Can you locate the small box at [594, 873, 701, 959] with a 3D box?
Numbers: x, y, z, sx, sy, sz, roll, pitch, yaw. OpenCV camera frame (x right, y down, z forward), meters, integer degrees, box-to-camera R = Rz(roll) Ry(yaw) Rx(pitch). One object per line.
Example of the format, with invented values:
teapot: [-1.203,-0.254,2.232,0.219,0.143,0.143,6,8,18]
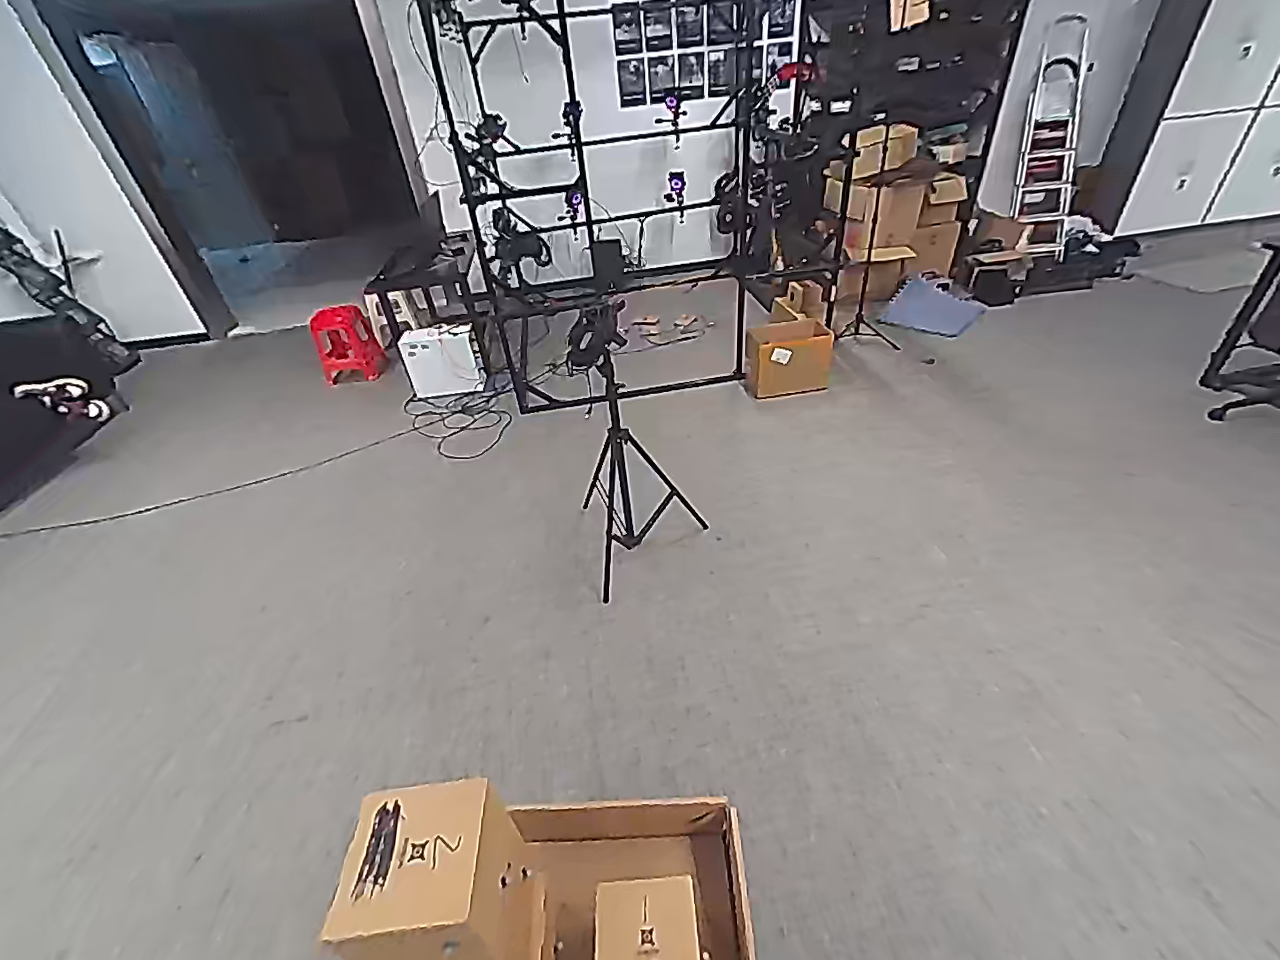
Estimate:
small box: [0.017,0.790,0.897,0.168,0.176,0.179,-6,36,1]

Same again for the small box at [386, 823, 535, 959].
small box: [-0.261,0.667,0.831,0.168,0.176,0.179,-8,36,-1]

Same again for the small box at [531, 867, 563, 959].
small box: [-0.237,0.797,0.927,0.179,0.176,0.168,-5,37,0]
